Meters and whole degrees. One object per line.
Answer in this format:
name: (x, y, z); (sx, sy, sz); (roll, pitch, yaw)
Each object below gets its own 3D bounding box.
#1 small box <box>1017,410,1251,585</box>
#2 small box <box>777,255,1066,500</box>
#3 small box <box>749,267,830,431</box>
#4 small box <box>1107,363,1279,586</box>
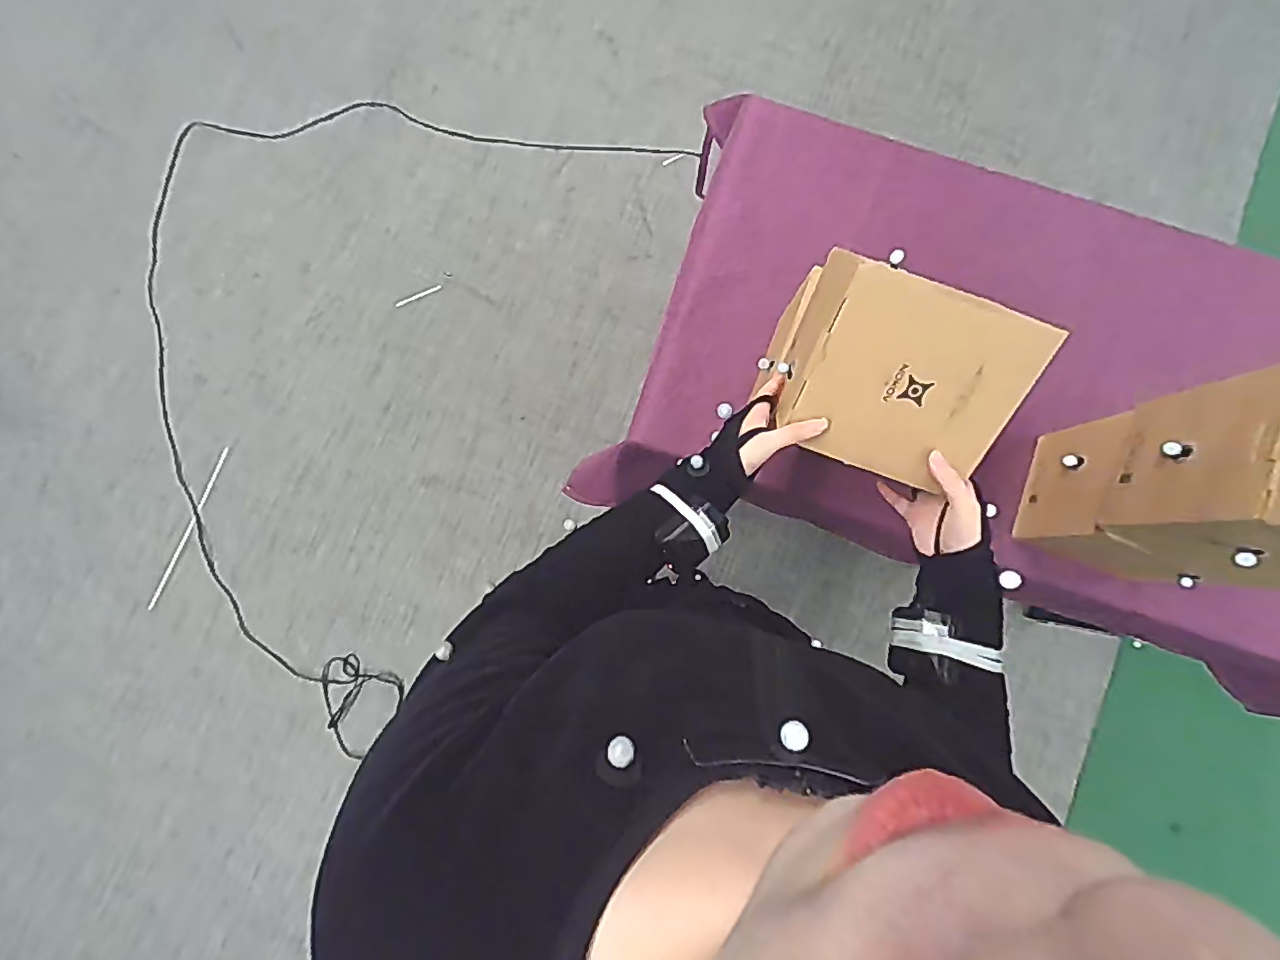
small box: (0.649, 0.029, 0.714); (0.179, 0.176, 0.168); (20, 83, 2)
small box: (0.246, -0.112, 0.534); (0.179, 0.176, 0.168); (20, 119, 1)
small box: (0.259, -0.146, 0.732); (0.168, 0.176, 0.179); (22, 84, 2)
small box: (0.643, 0.007, 0.551); (0.179, 0.176, 0.168); (24, 84, 3)
